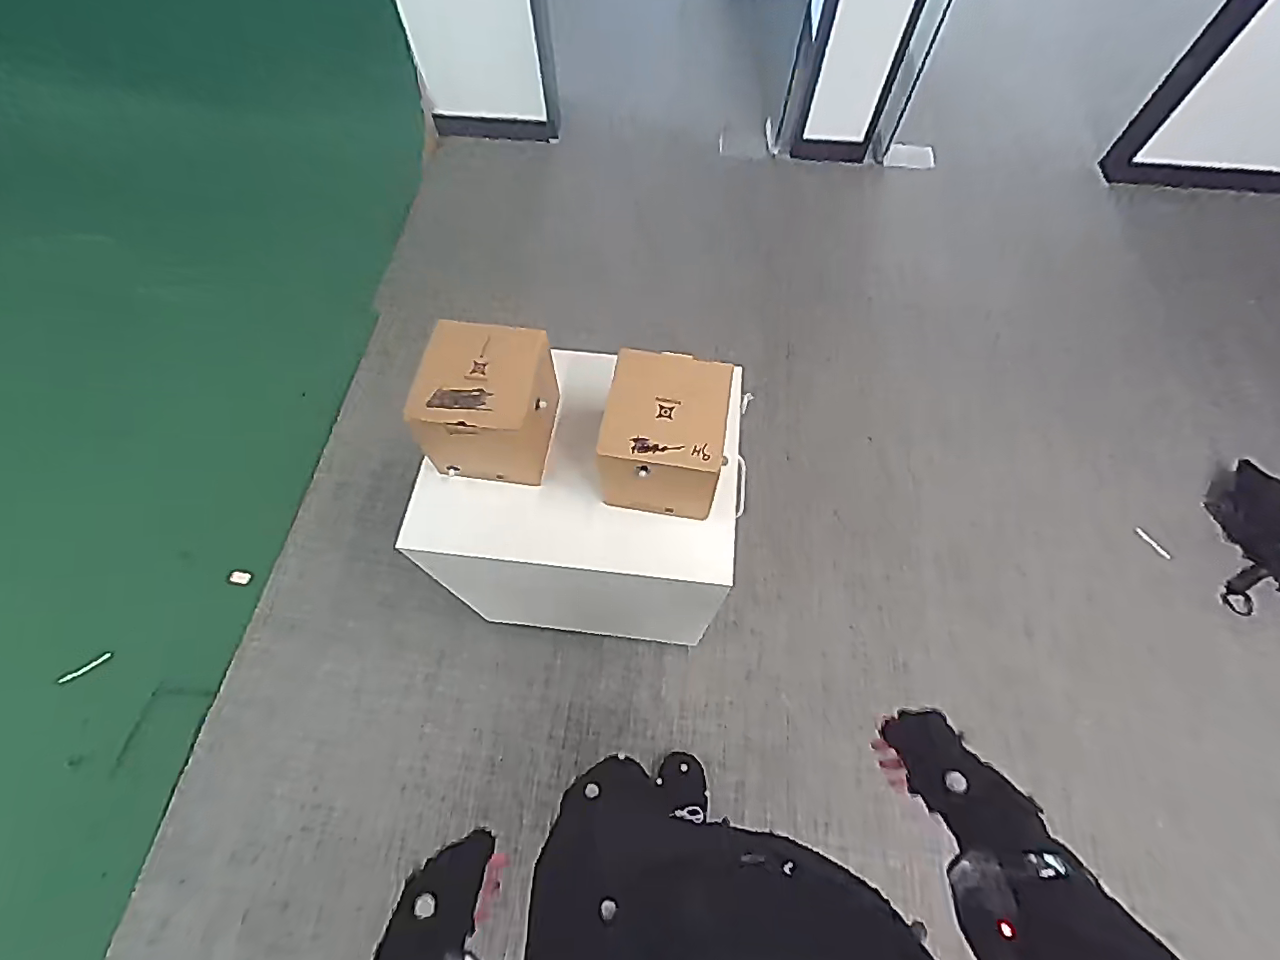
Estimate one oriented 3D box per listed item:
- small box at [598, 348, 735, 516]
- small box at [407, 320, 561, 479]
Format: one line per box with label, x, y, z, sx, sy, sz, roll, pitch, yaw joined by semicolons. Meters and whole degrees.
small box;0.040;-0.066;0.805;0.168;0.176;0.179;9;65;6
small box;-0.224;-0.116;0.830;0.168;0.176;0.179;7;64;3
